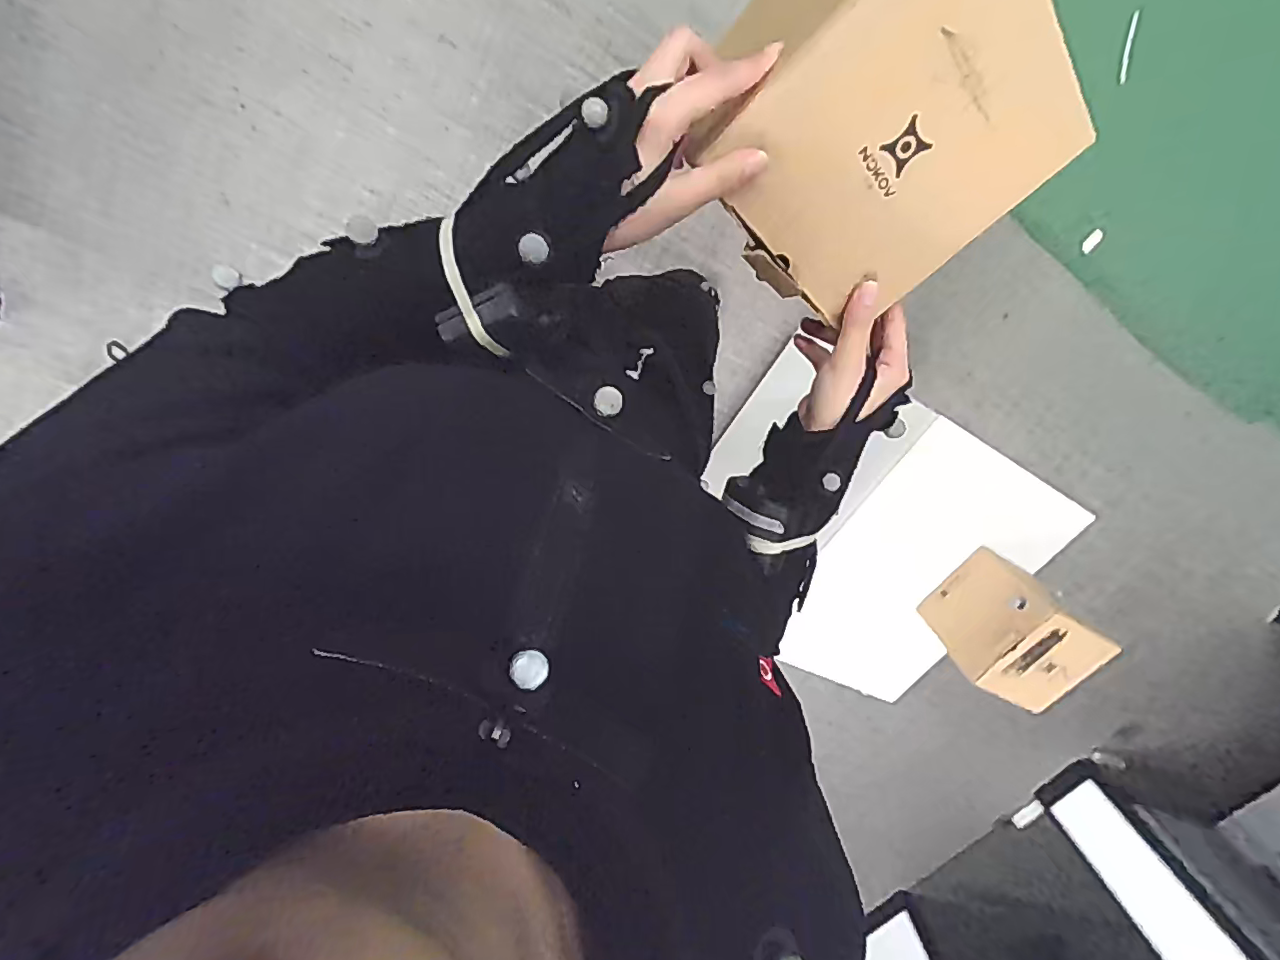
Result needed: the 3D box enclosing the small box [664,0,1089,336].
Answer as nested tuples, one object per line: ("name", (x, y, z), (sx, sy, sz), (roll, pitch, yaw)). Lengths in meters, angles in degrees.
("small box", (0.132, -0.240, 0.364), (0.168, 0.176, 0.179), (32, 118, -32))
